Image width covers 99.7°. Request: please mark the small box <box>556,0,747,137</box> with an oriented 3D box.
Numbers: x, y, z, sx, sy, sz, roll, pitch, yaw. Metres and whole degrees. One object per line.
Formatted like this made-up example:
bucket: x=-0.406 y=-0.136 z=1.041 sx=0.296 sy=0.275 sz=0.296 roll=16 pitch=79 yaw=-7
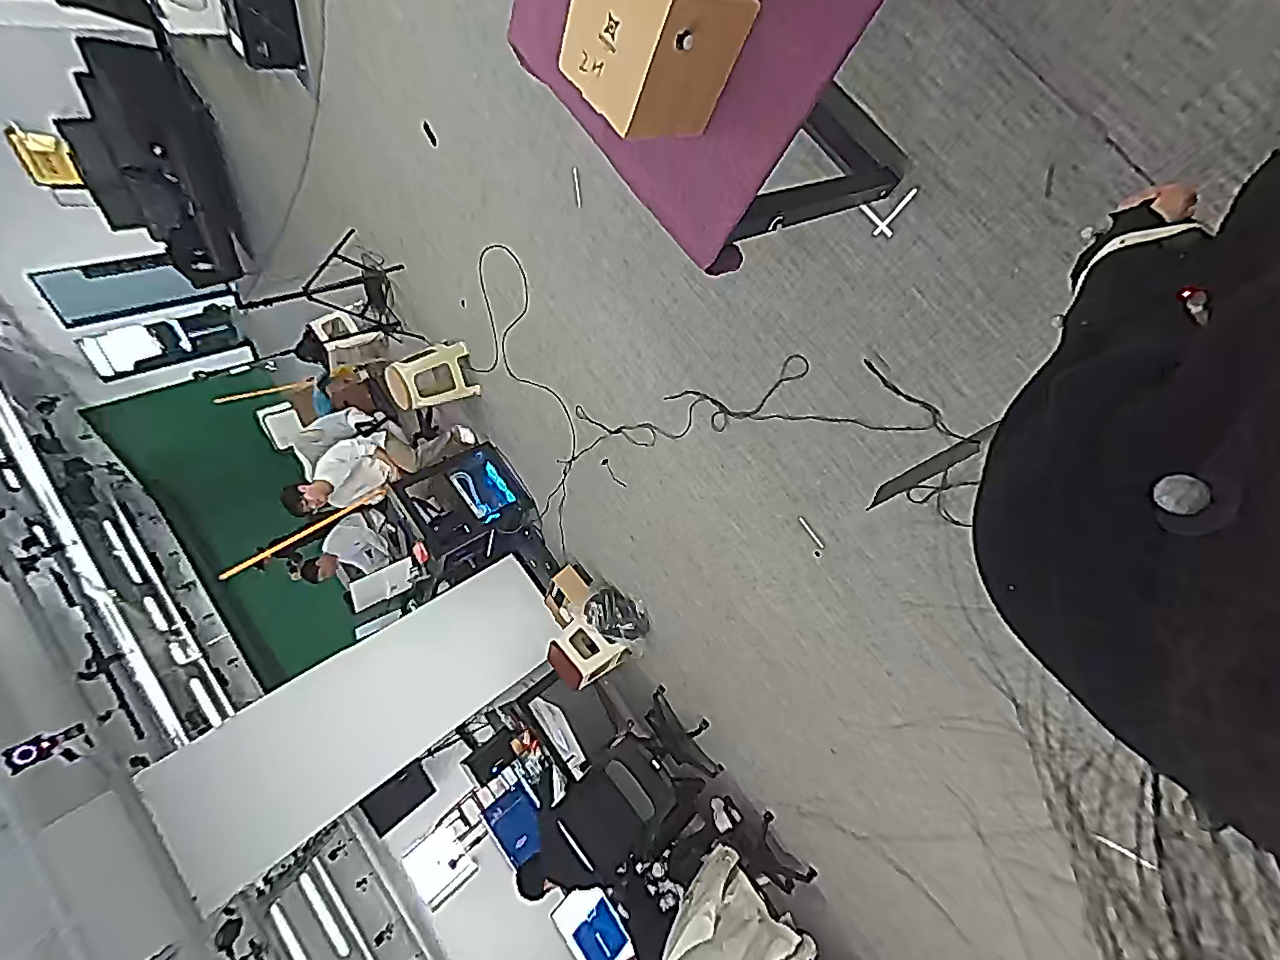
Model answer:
small box: x=0.017 y=-0.606 z=0.732 sx=0.168 sy=0.176 sz=0.179 roll=53 pitch=146 yaw=11
